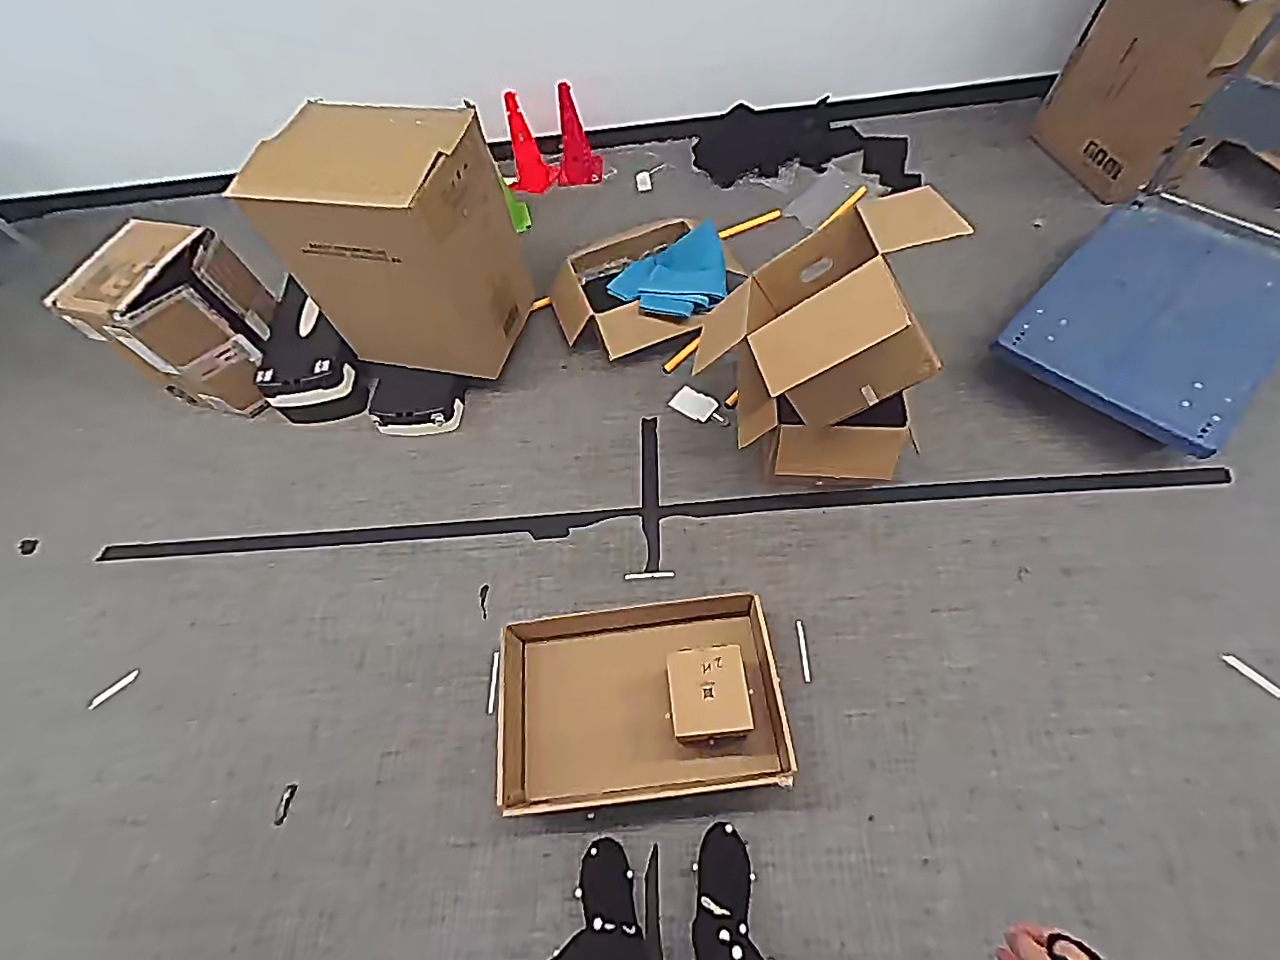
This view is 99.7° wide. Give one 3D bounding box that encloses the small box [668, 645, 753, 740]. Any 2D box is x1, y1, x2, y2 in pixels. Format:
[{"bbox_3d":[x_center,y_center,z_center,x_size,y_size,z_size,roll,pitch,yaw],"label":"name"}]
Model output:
[{"bbox_3d":[0.156,0.485,1.220,0.168,0.176,0.179,-7,60,2],"label":"small box"}]
